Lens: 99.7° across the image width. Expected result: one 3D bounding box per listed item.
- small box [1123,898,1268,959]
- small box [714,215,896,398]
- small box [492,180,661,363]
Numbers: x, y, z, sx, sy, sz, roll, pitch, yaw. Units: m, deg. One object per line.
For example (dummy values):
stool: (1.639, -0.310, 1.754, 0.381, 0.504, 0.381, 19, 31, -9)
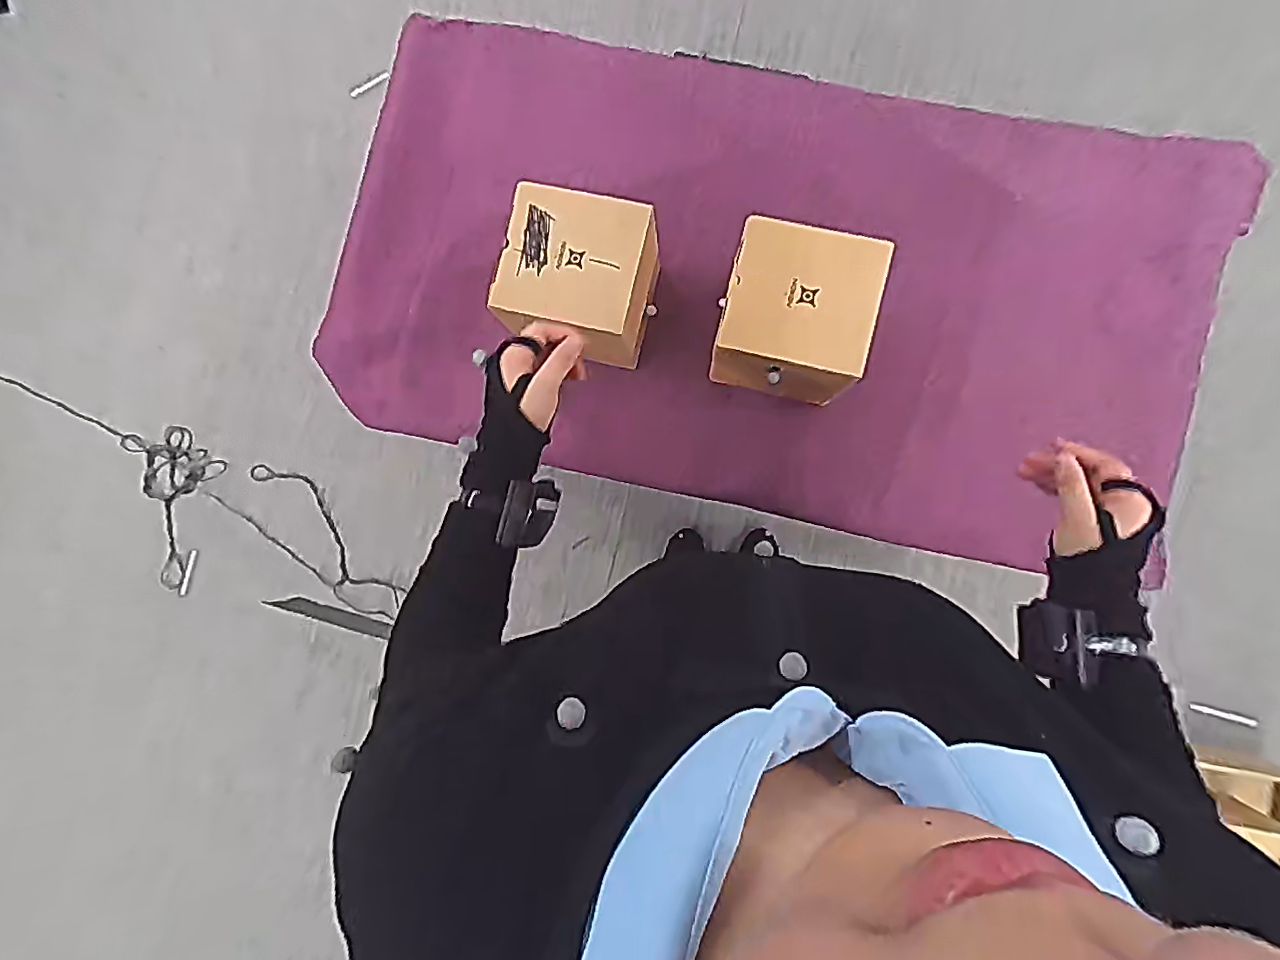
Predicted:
small box: (1.252, 1.094, 1.220, 0.179, 0.176, 0.168, 10, 88, 5)
small box: (0.203, -0.214, 0.714, 0.179, 0.176, 0.168, 14, 89, 7)
small box: (-0.075, -0.272, 0.742, 0.179, 0.176, 0.168, 14, 89, 5)
